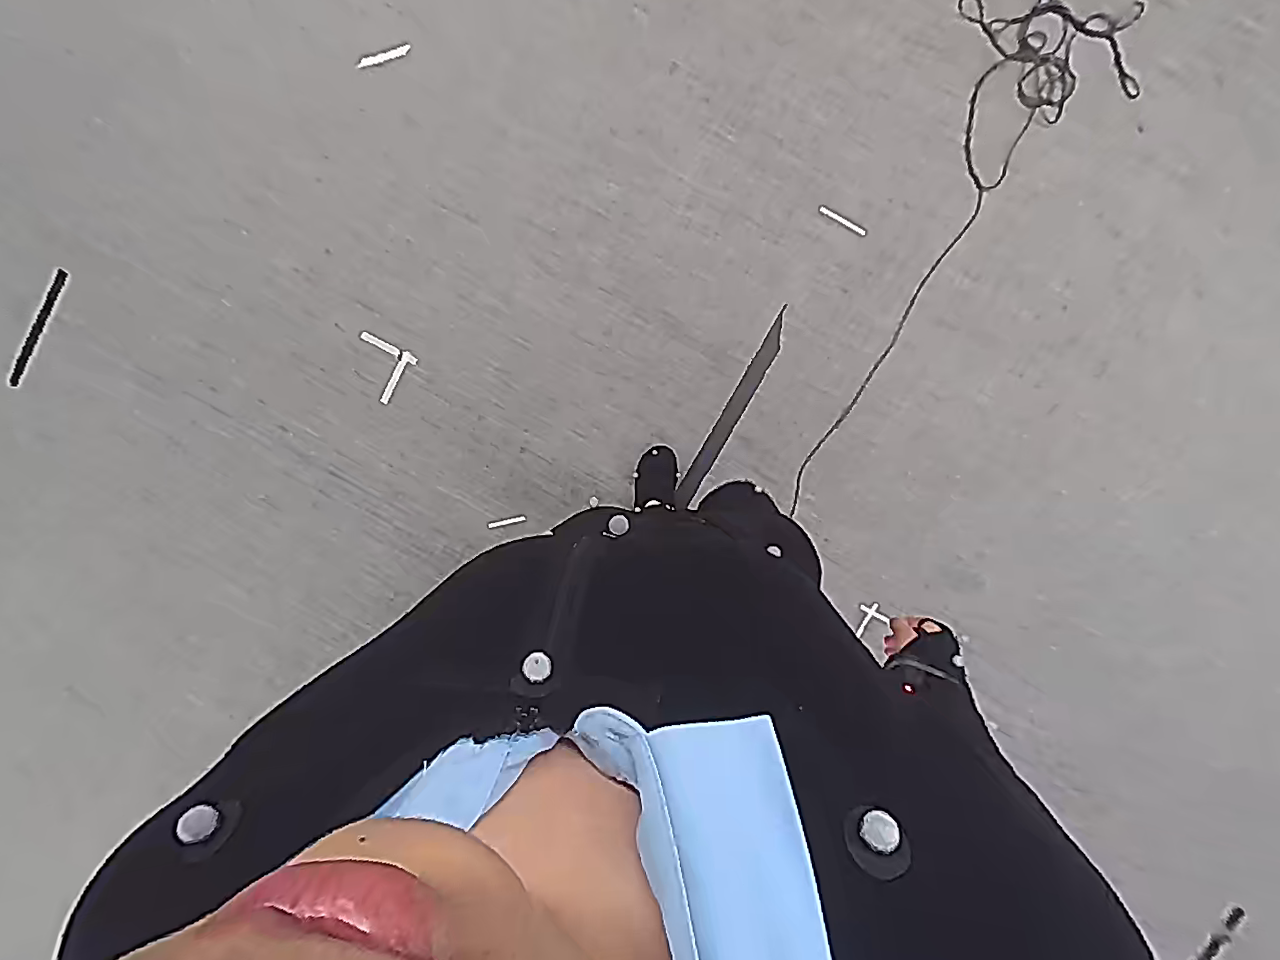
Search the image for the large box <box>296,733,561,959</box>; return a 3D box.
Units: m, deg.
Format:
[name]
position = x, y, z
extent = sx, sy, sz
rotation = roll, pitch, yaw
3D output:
[large box]
position = -0.442, 0.853, 1.217
extent = 0.408, 0.320, 0.320
rotation = 27, 93, 0
